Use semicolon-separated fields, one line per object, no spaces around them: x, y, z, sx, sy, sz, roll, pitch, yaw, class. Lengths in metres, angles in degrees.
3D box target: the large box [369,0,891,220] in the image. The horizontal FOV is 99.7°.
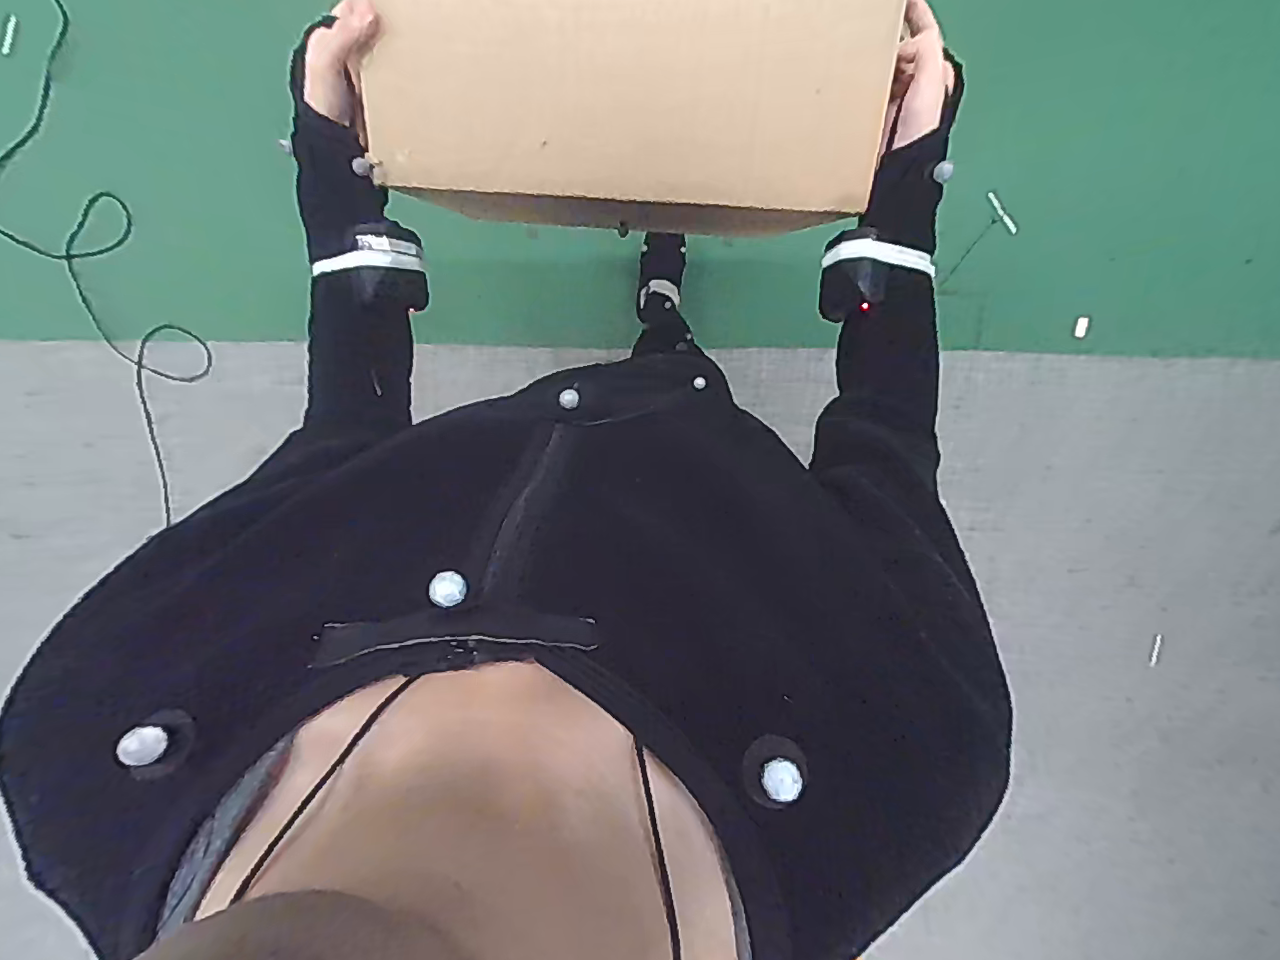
-0.006;-0.442;0.538;0.408;0.320;0.320;2;111;-3;large box
